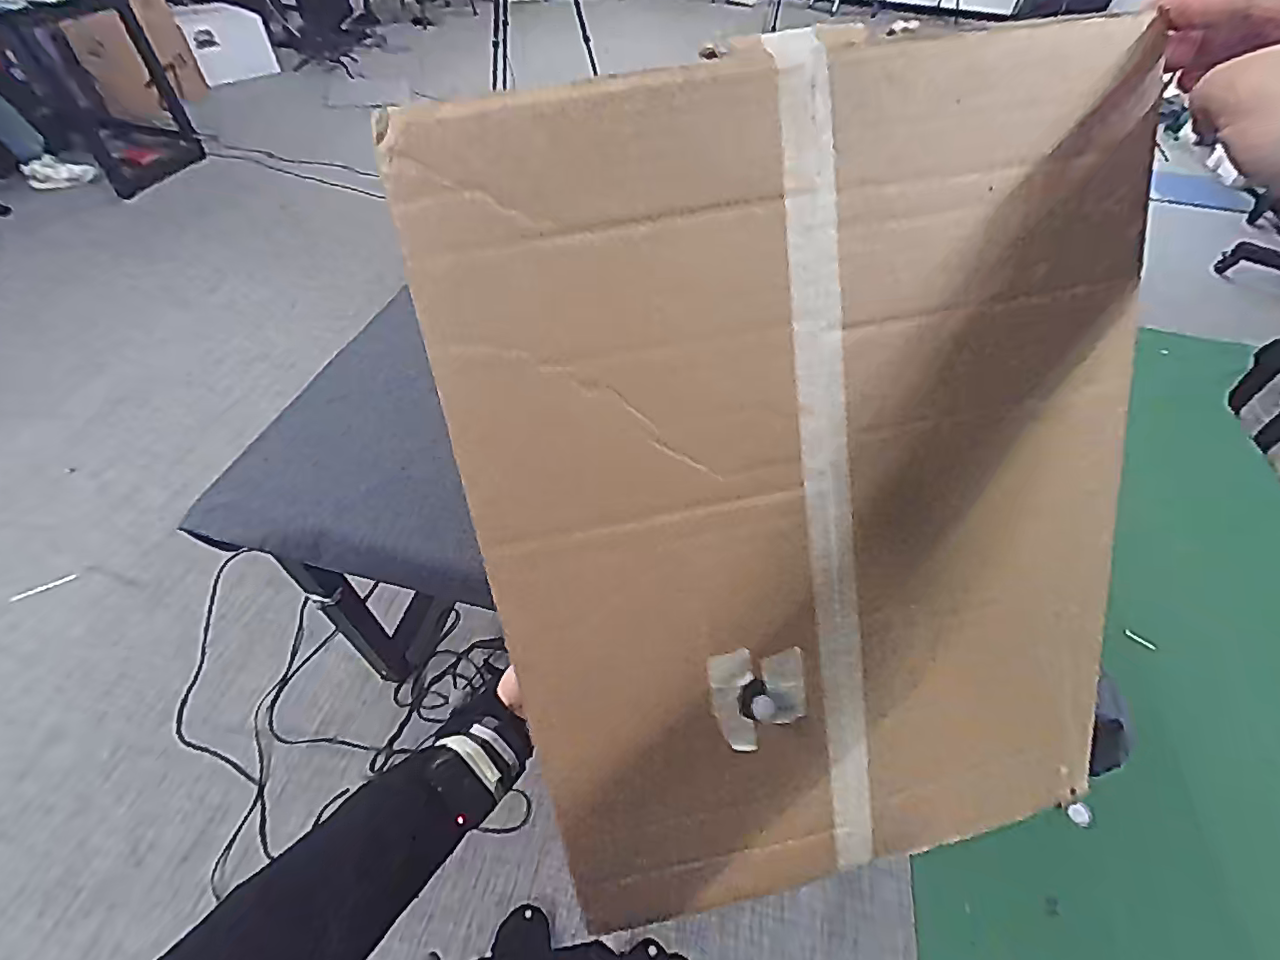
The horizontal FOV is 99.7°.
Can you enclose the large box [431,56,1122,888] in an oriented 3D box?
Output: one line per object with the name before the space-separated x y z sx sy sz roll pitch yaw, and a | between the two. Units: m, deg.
large box | 0.074 -0.013 0.421 0.320 0.408 0.320 -13 19 -6
